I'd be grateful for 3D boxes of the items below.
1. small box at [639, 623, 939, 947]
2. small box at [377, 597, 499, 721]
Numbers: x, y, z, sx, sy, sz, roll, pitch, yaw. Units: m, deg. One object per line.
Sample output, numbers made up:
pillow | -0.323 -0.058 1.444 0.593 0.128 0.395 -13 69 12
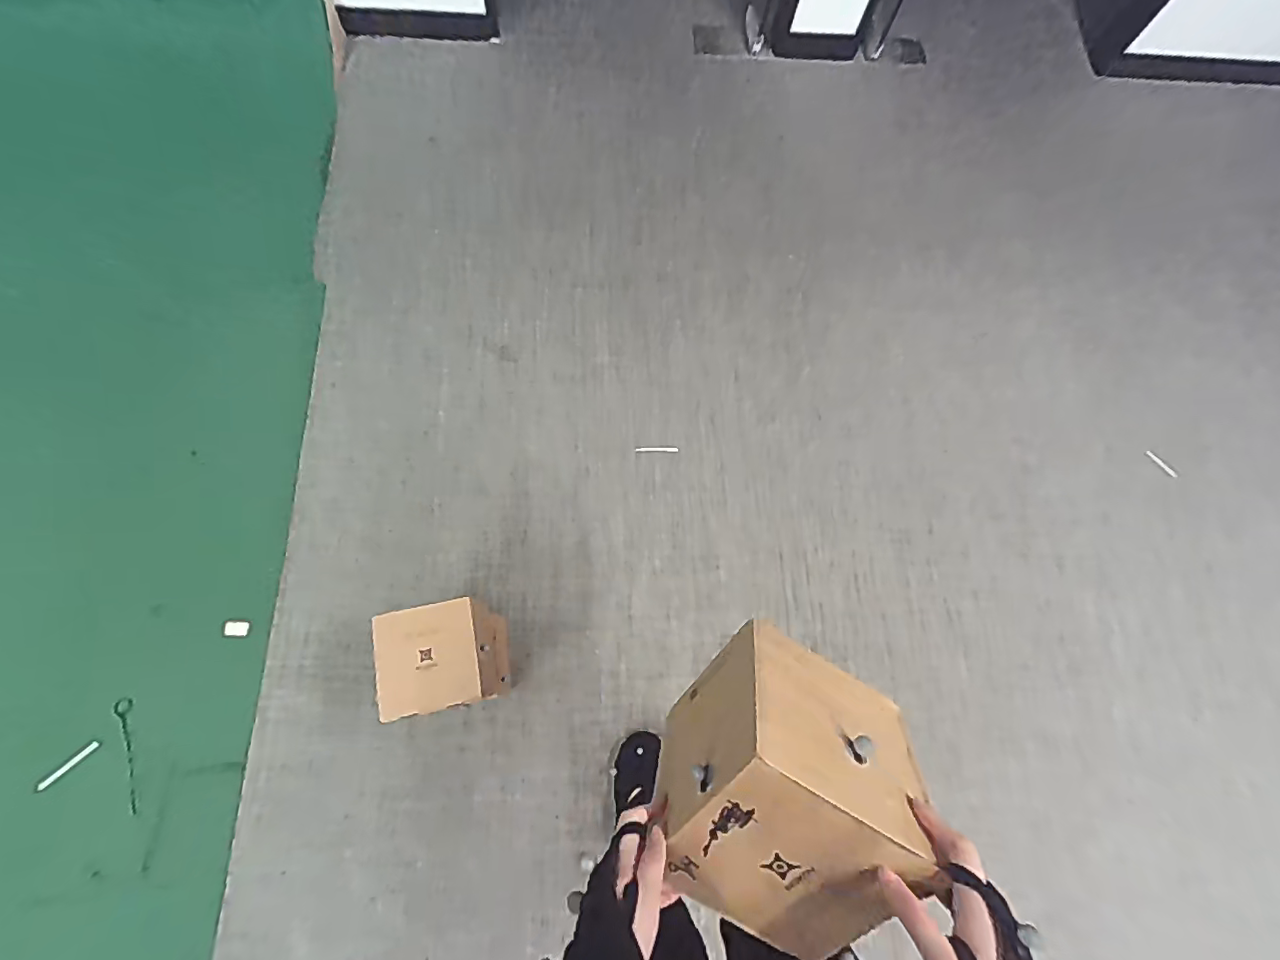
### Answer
small box | 0.124 0.267 0.500 0.179 0.176 0.168 31 114 -3
small box | -0.361 0.322 0.991 0.168 0.176 0.179 -10 73 -8
